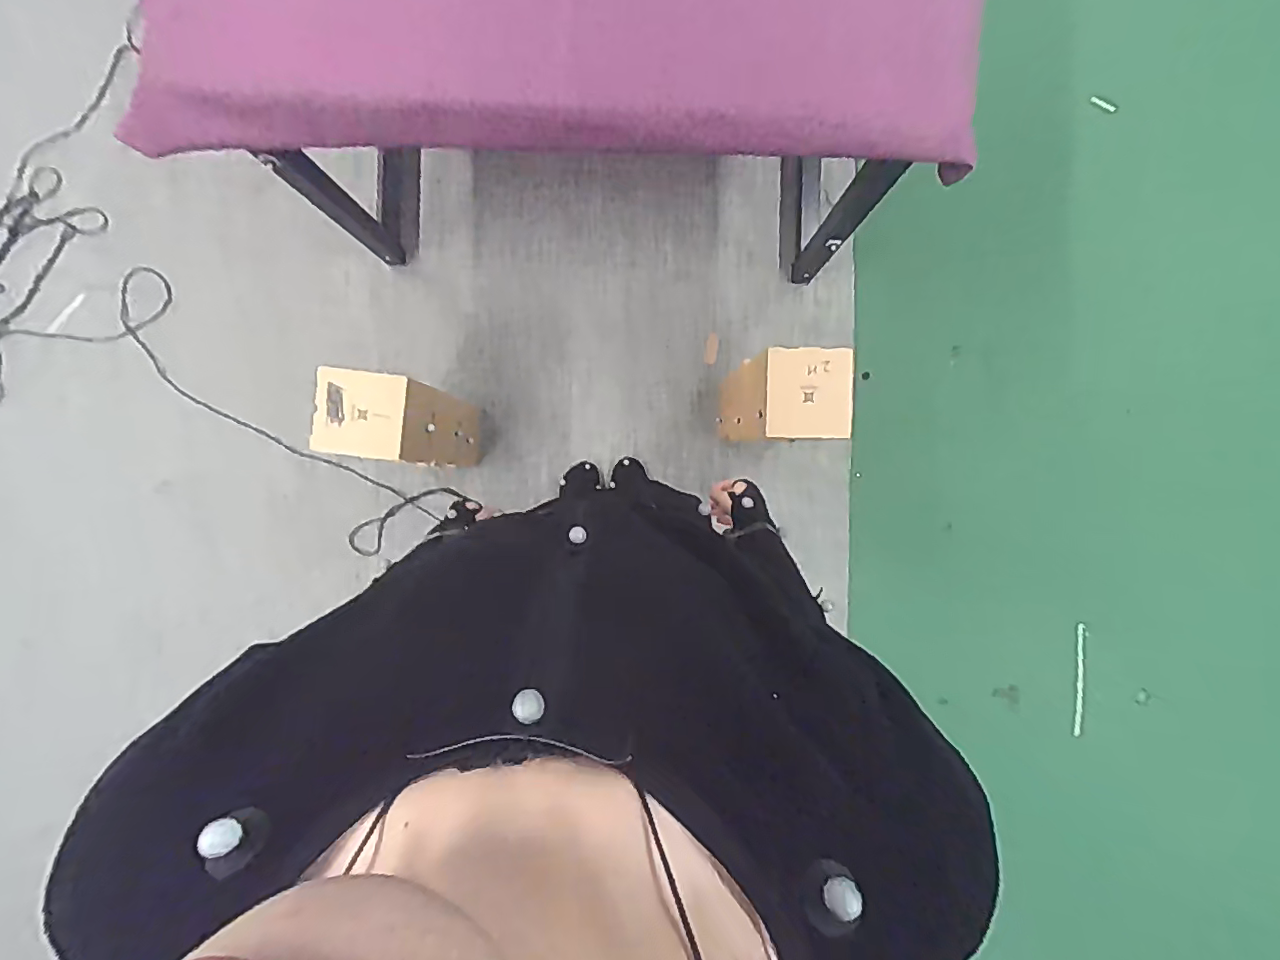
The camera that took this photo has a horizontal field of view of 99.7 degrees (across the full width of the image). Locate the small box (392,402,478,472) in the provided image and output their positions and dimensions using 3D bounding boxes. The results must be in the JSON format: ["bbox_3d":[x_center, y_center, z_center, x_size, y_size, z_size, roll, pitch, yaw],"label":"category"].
[{"bbox_3d":[-0.539,-0.115,1.436,0.168,0.176,0.179,5,91,-1],"label":"small box"}]

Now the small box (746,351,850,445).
[{"bbox_3d":[0.317,-0.162,1.115,0.168,0.176,0.179,1,92,-1],"label":"small box"}]

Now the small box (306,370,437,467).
[{"bbox_3d":[-0.540,-0.118,1.106,0.179,0.176,0.168,7,90,-1],"label":"small box"}]

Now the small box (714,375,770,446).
[{"bbox_3d":[0.295,-0.179,1.440,0.179,0.176,0.168,3,91,-1],"label":"small box"}]

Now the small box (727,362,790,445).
[{"bbox_3d":[0.302,-0.175,1.279,0.168,0.176,0.179,0,92,-1],"label":"small box"}]
